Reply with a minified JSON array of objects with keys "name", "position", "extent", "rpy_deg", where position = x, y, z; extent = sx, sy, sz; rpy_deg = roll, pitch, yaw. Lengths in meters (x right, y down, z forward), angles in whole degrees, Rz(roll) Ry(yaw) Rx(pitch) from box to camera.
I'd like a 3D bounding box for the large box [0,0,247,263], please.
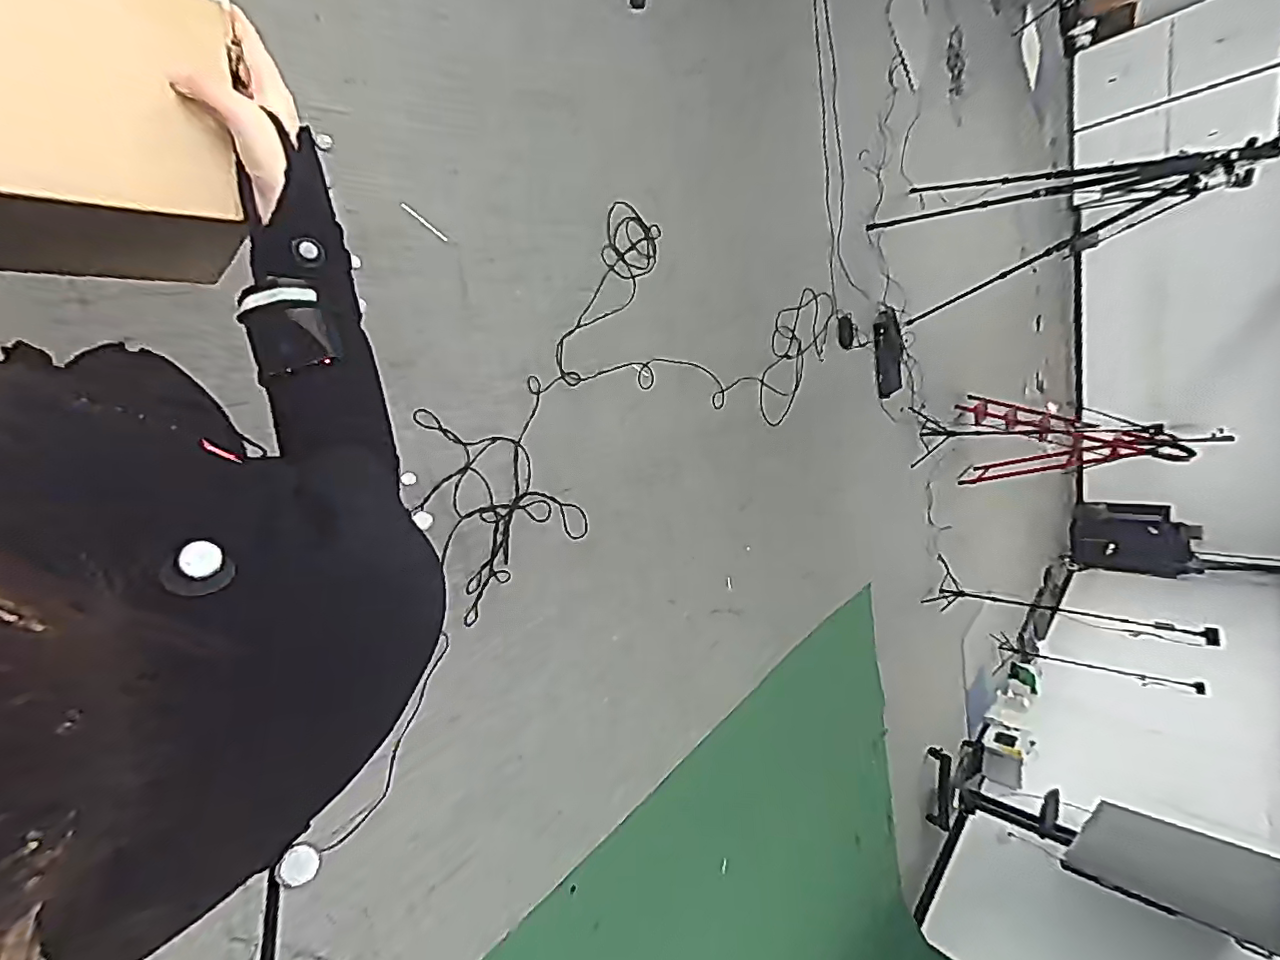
[{"name":"large box","position":[-0.562,-0.346,0.379],"extent":[0.408,0.320,0.320],"rpy_deg":[-13,105,-40]}]
